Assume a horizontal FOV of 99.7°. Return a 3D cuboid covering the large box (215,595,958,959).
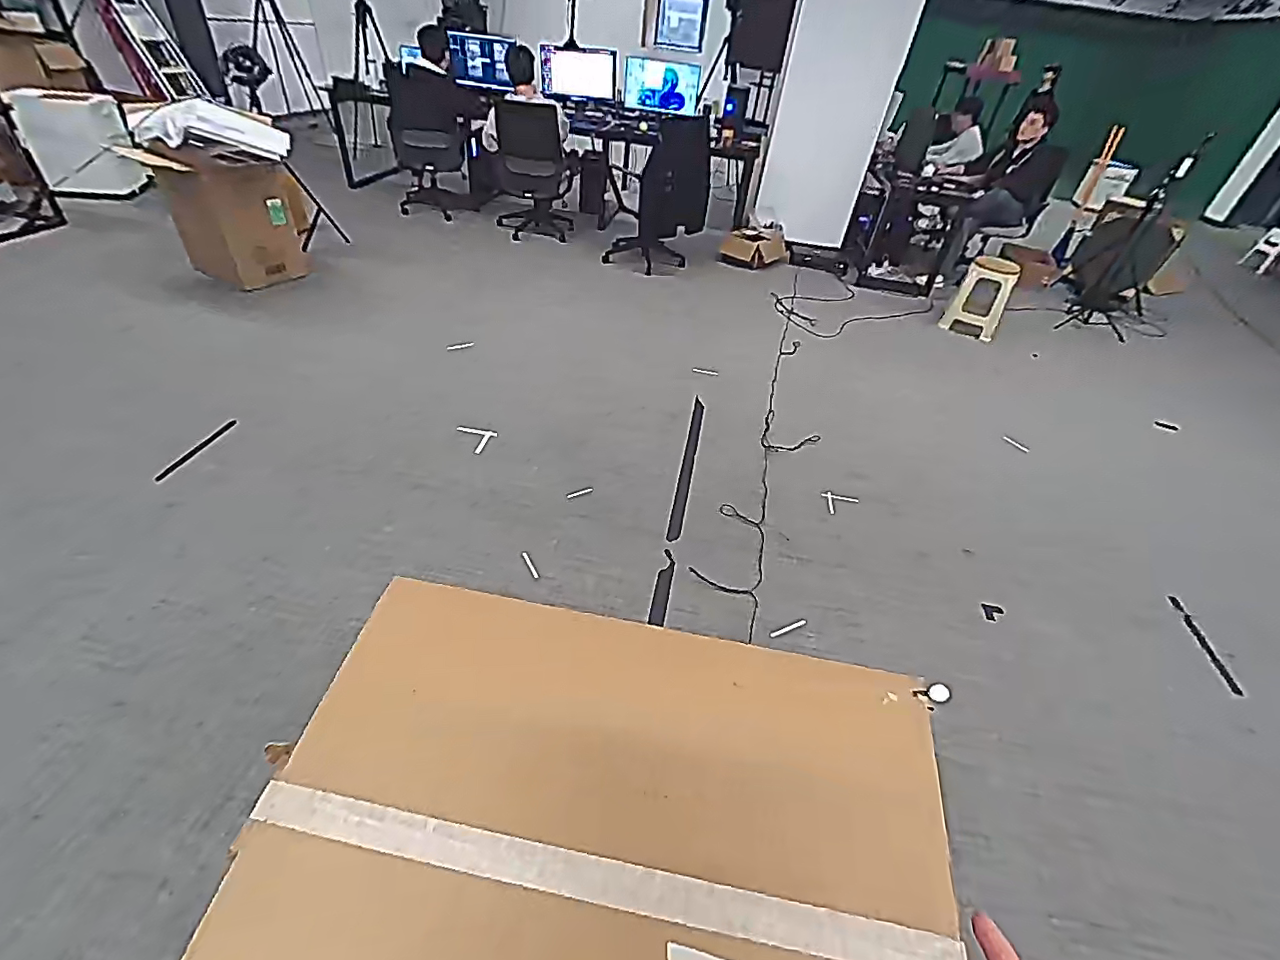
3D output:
[{"bbox_3d":[-0.026,0.329,0.429,0.408,0.320,0.320,10,51,5],"label":"large box"}]
